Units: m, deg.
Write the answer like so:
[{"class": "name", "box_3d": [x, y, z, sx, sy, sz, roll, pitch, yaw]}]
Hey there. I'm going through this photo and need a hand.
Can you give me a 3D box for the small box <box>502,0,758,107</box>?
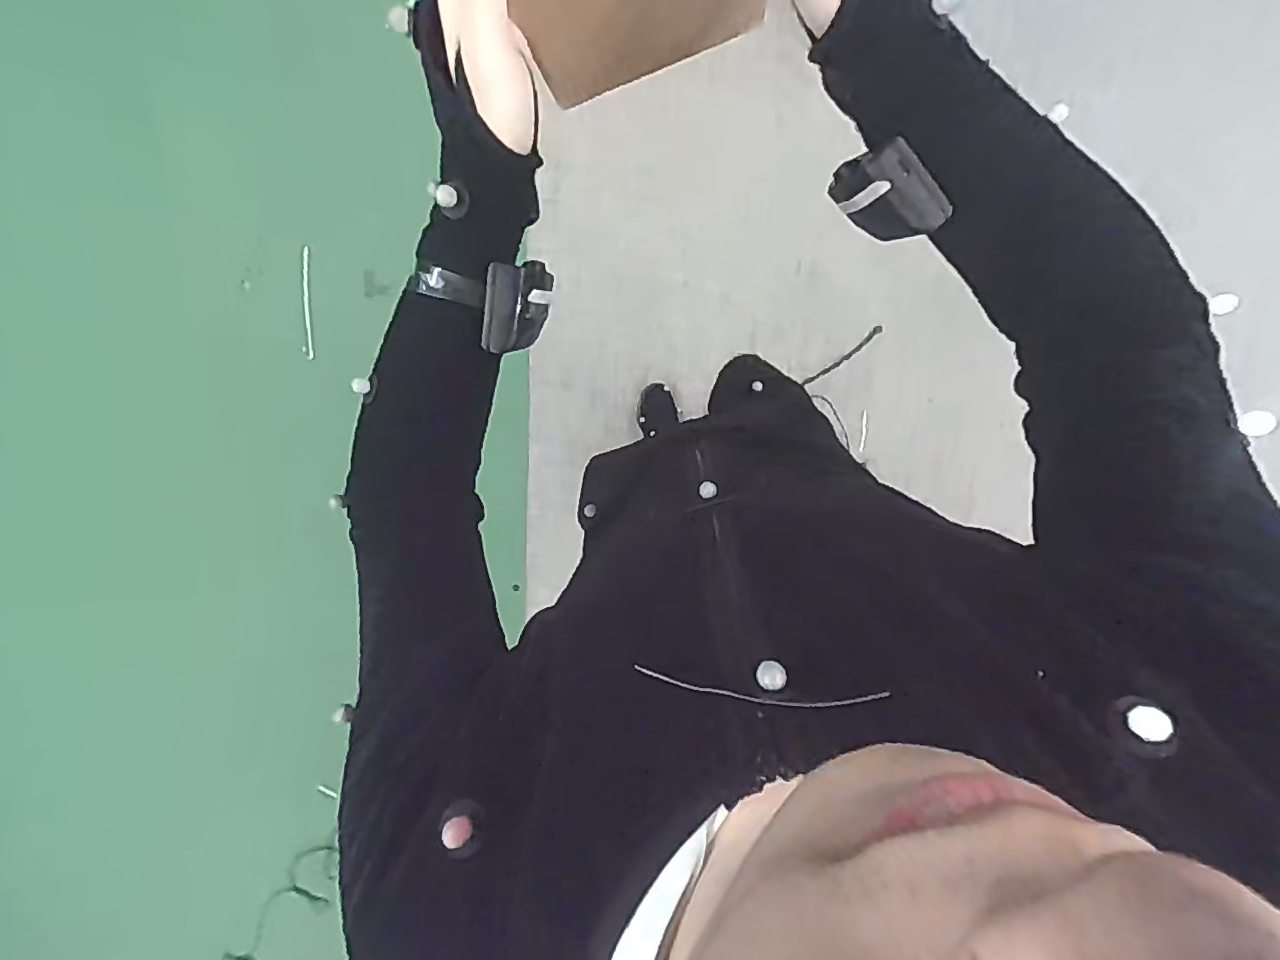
[{"class": "small box", "box_3d": [-0.020, -0.384, 0.343, 0.179, 0.176, 0.168, -17, 98, 8]}]
